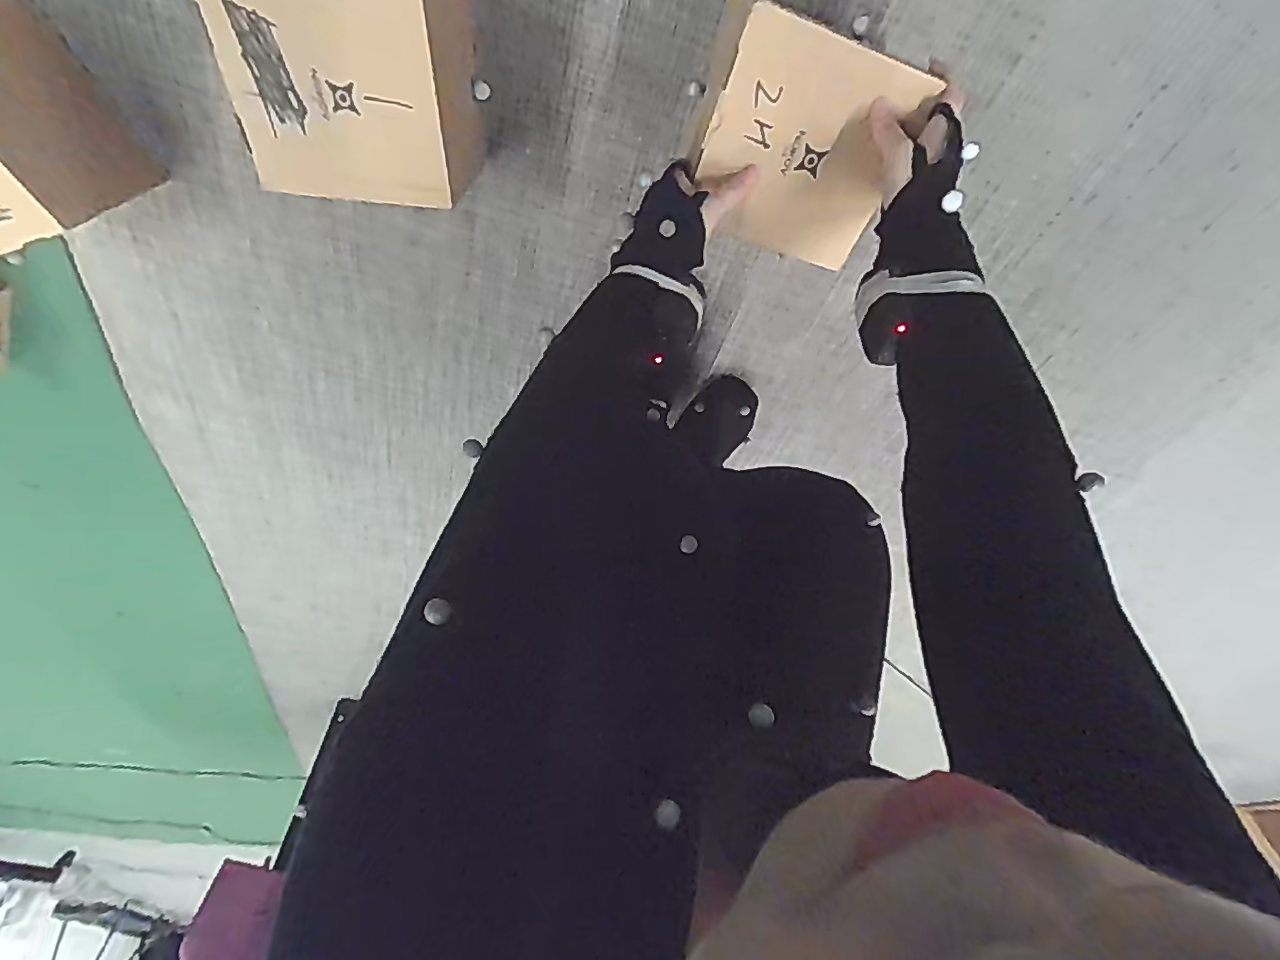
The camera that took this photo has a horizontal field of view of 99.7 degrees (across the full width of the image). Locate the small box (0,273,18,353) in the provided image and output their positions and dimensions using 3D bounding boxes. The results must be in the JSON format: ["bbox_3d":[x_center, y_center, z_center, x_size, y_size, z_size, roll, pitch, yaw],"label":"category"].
[{"bbox_3d":[-0.978,-0.219,0.689,0.179,0.176,0.168,32,128,-27],"label":"small box"}]

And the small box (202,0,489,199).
[{"bbox_3d":[-0.252,-0.385,0.504,0.179,0.176,0.168,4,135,-4],"label":"small box"}]

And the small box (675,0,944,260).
[{"bbox_3d":[0.144,-0.351,0.530,0.179,0.176,0.168,13,134,-12],"label":"small box"}]
